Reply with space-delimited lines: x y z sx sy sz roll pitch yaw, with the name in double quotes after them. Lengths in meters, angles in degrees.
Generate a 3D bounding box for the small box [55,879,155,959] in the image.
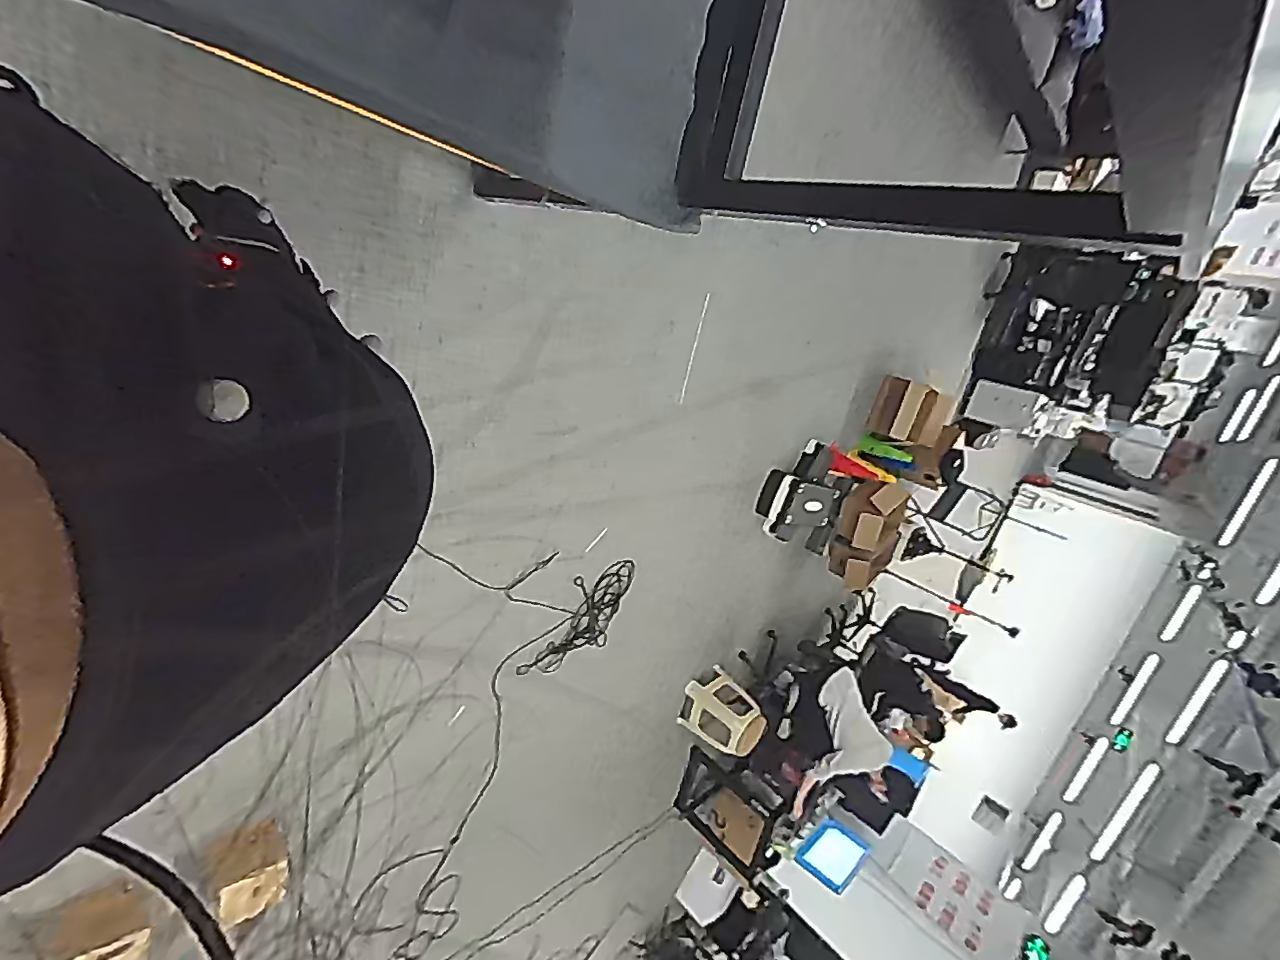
-1.400 1.194 1.412 0.168 0.176 0.179 6 108 -49 "small box"

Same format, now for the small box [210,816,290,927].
-1.185 1.178 1.641 0.168 0.176 0.179 -3 113 -47 "small box"
